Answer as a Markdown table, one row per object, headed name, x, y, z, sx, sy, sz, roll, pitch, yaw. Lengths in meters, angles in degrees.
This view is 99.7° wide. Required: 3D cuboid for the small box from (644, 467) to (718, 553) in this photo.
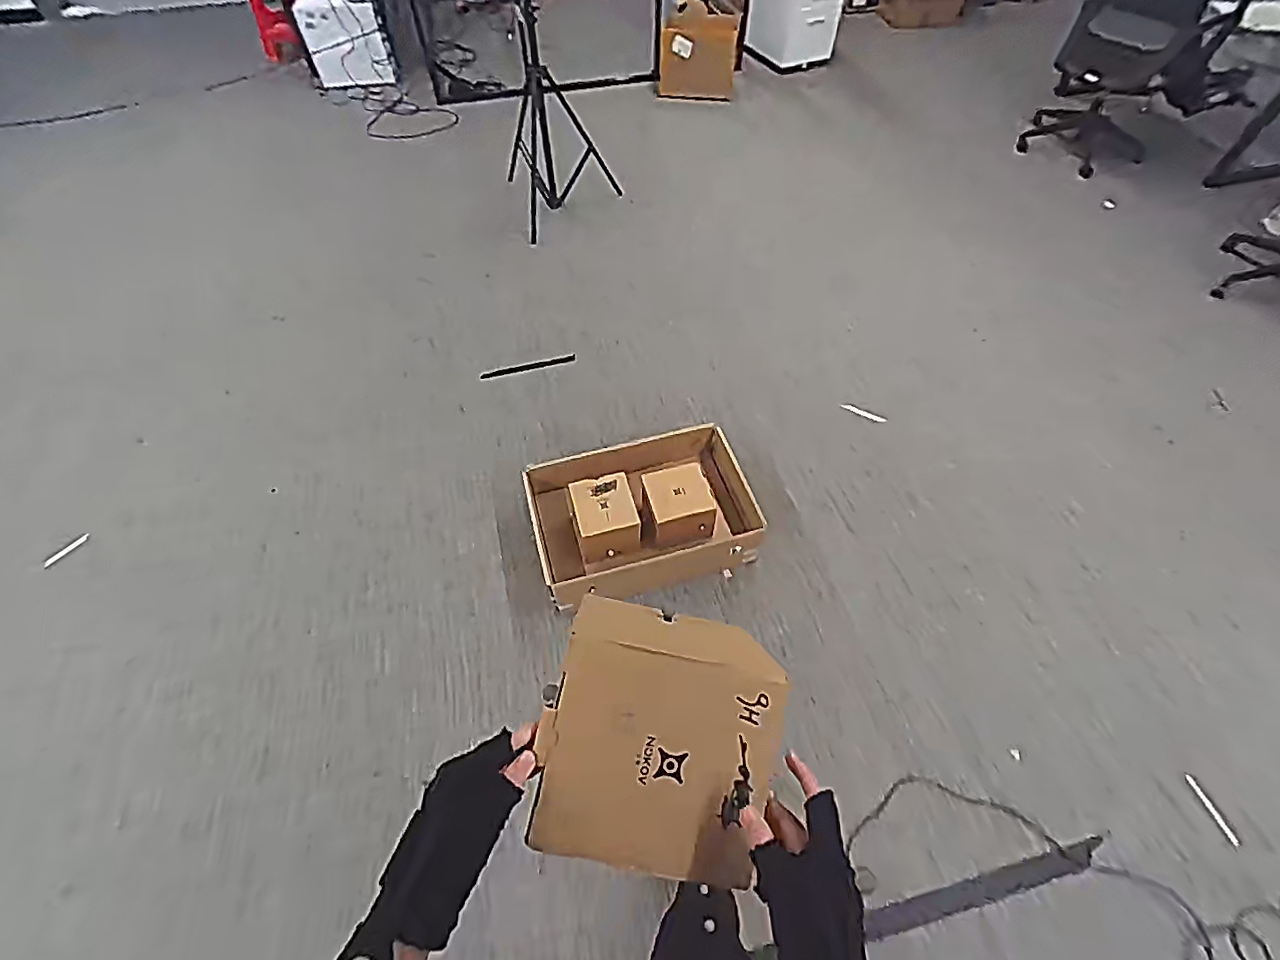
| name | x | y | z | sx | sy | sz | roll | pitch | yaw |
| --- | --- | --- | --- | --- | --- | --- | --- | --- | --- |
| small box | 0.114 | 0.090 | 1.580 | 0.179 | 0.176 | 0.168 | -14 | 56 | -7 |
